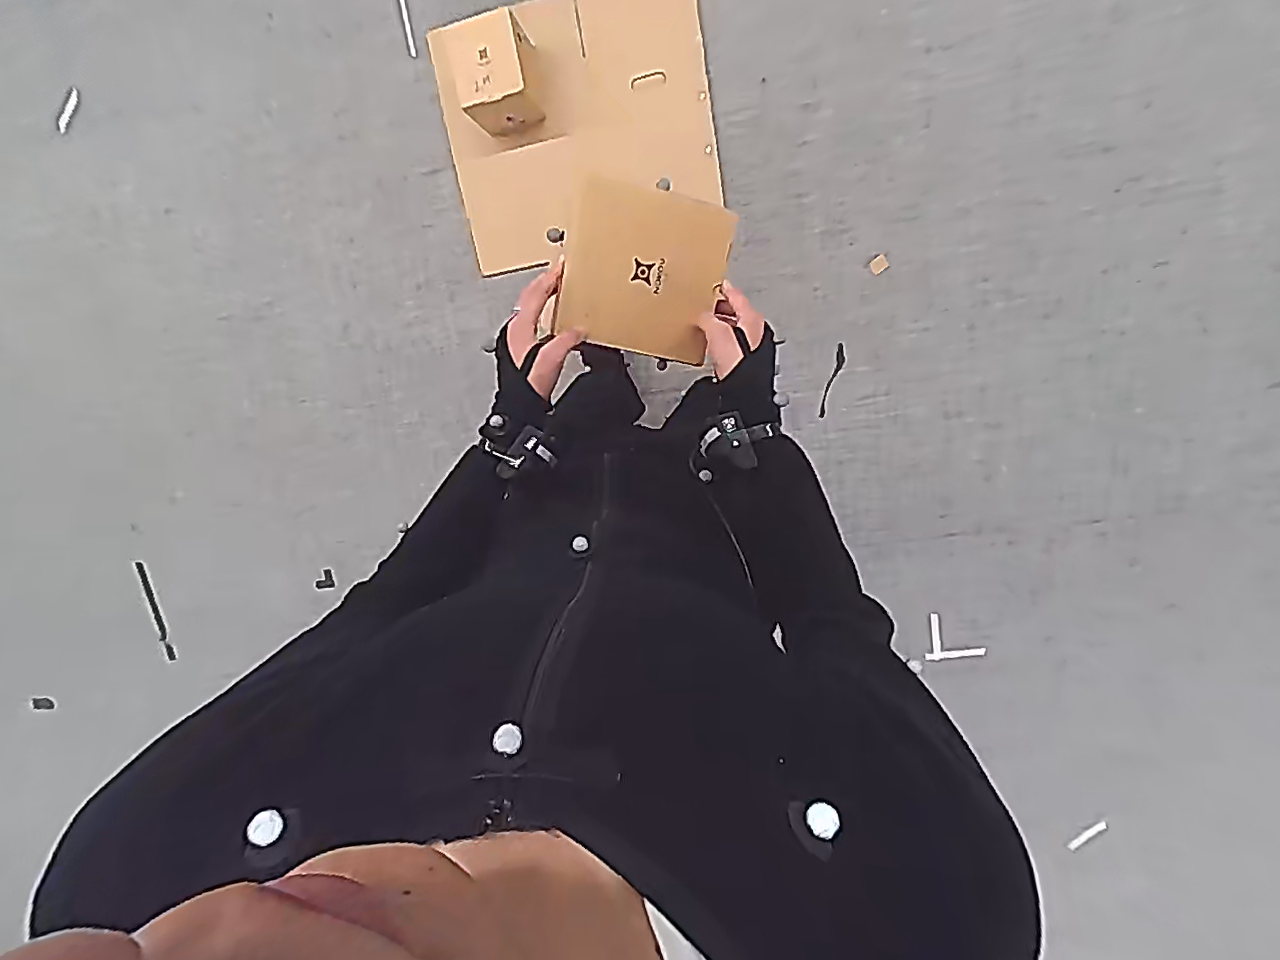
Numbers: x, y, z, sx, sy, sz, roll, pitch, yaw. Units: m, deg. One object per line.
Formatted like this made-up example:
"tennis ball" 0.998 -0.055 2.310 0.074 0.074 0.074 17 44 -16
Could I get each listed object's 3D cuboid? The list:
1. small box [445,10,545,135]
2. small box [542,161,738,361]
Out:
"small box" -0.350 -0.991 1.332 0.168 0.176 0.179 -8 103 10
"small box" -0.014 -0.246 0.639 0.179 0.176 0.168 7 107 -19
